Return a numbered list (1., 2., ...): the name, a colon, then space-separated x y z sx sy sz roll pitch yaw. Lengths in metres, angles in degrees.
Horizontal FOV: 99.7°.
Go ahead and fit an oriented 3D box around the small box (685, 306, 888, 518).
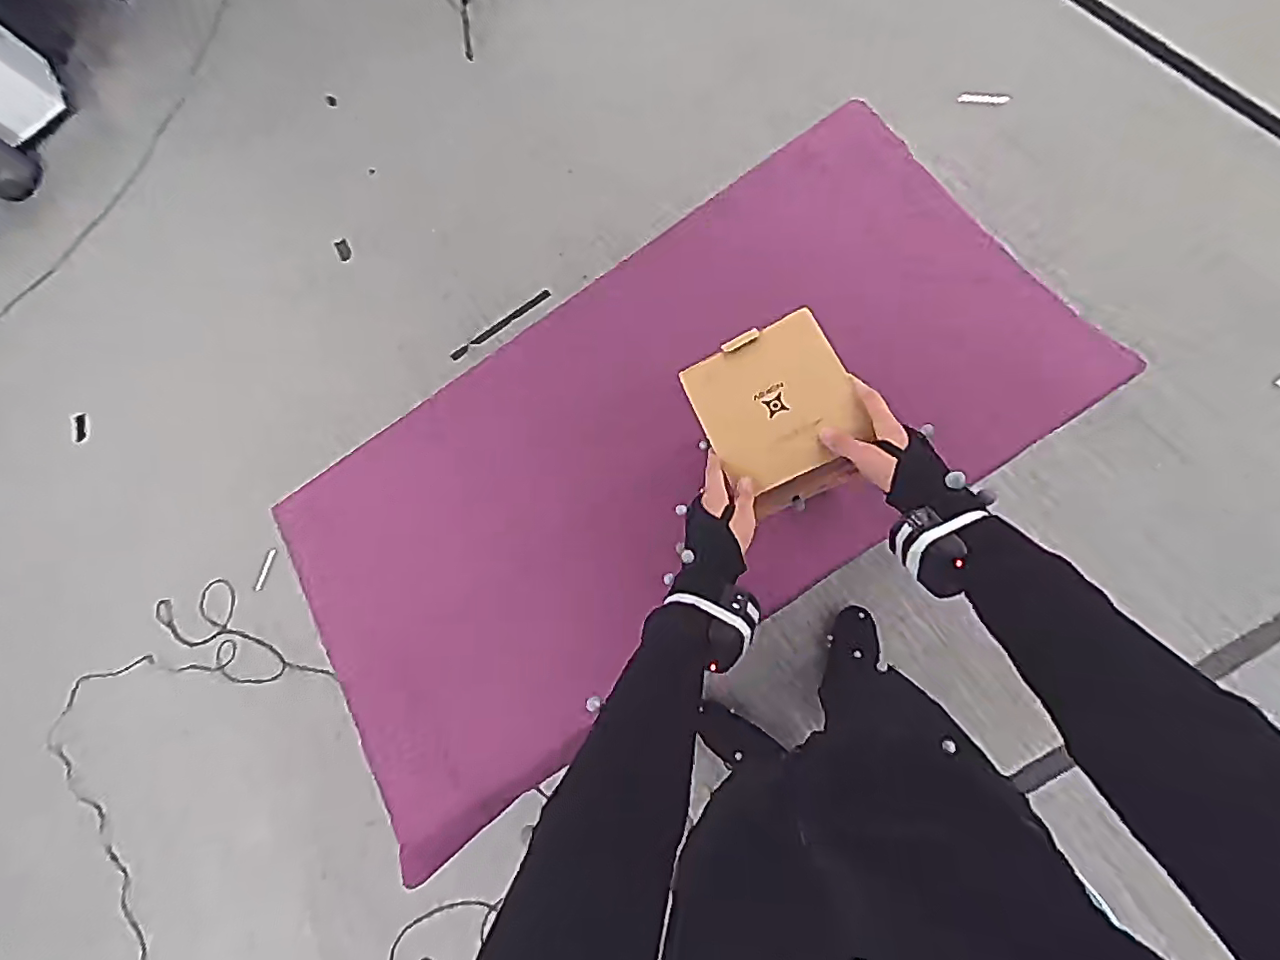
1. small box: 0.174 -0.070 0.665 0.168 0.176 0.179 -25 73 10
